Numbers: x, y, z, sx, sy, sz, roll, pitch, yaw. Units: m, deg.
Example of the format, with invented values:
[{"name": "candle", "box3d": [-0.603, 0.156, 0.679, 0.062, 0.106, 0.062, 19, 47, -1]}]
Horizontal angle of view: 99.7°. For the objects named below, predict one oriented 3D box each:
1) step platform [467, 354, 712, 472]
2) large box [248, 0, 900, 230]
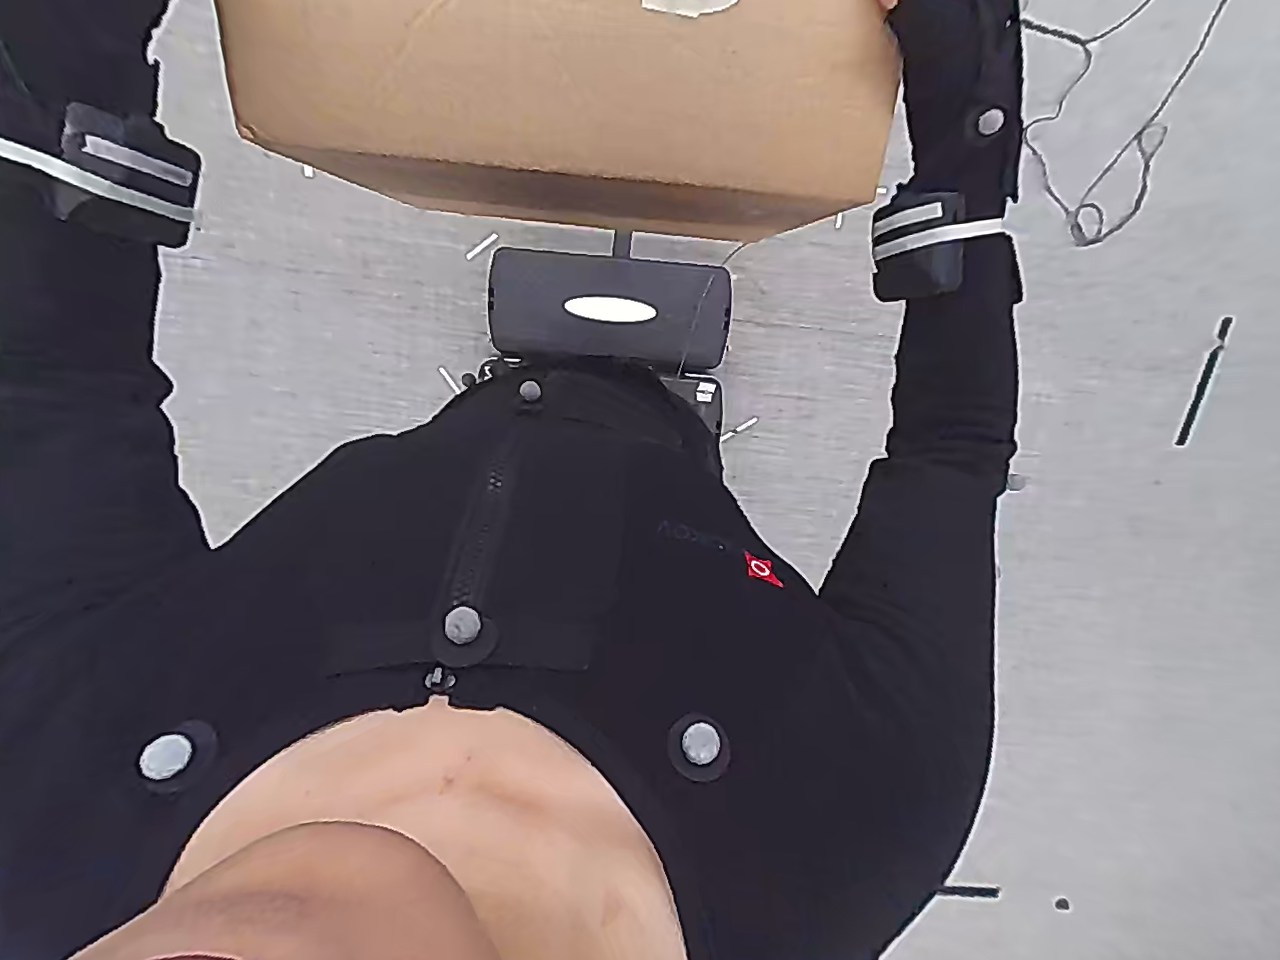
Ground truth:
[{"name": "step platform", "box3d": [-0.137, -0.190, 1.544, 0.684, 0.204, 0.286, 4, 103, -2]}, {"name": "large box", "box3d": [-0.039, -0.404, 0.449, 0.408, 0.320, 0.320, 3, 110, -4]}]
